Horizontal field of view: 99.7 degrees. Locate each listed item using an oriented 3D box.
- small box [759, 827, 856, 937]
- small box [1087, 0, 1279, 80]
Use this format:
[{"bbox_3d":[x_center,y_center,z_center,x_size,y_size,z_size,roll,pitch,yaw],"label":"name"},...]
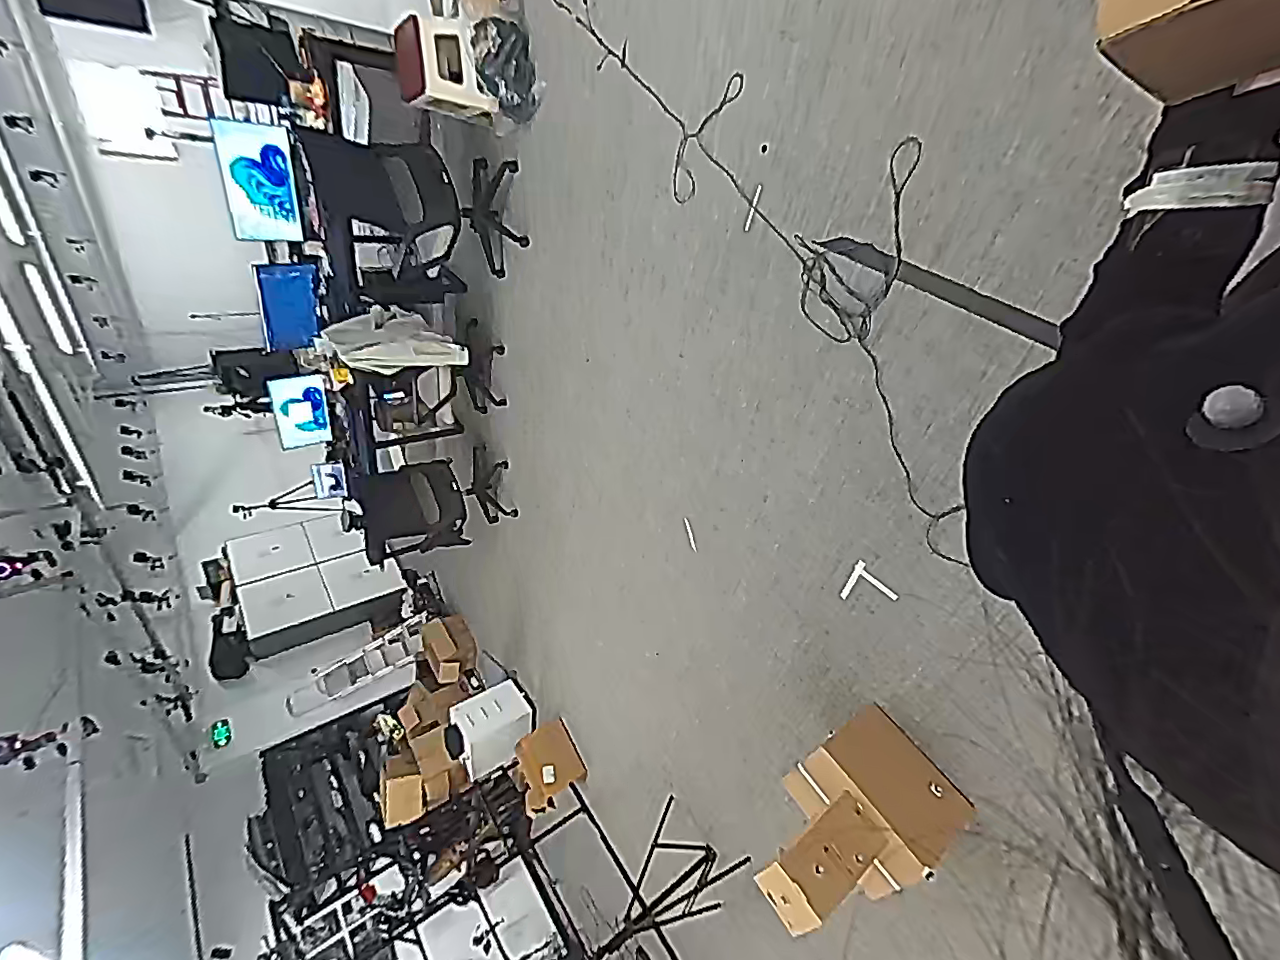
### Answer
[{"bbox_3d":[0.474,1.120,1.516,0.168,0.176,0.179,48,137,31],"label":"small box"},{"bbox_3d":[0.305,-0.296,0.215,0.168,0.176,0.179,5,108,51],"label":"small box"}]
